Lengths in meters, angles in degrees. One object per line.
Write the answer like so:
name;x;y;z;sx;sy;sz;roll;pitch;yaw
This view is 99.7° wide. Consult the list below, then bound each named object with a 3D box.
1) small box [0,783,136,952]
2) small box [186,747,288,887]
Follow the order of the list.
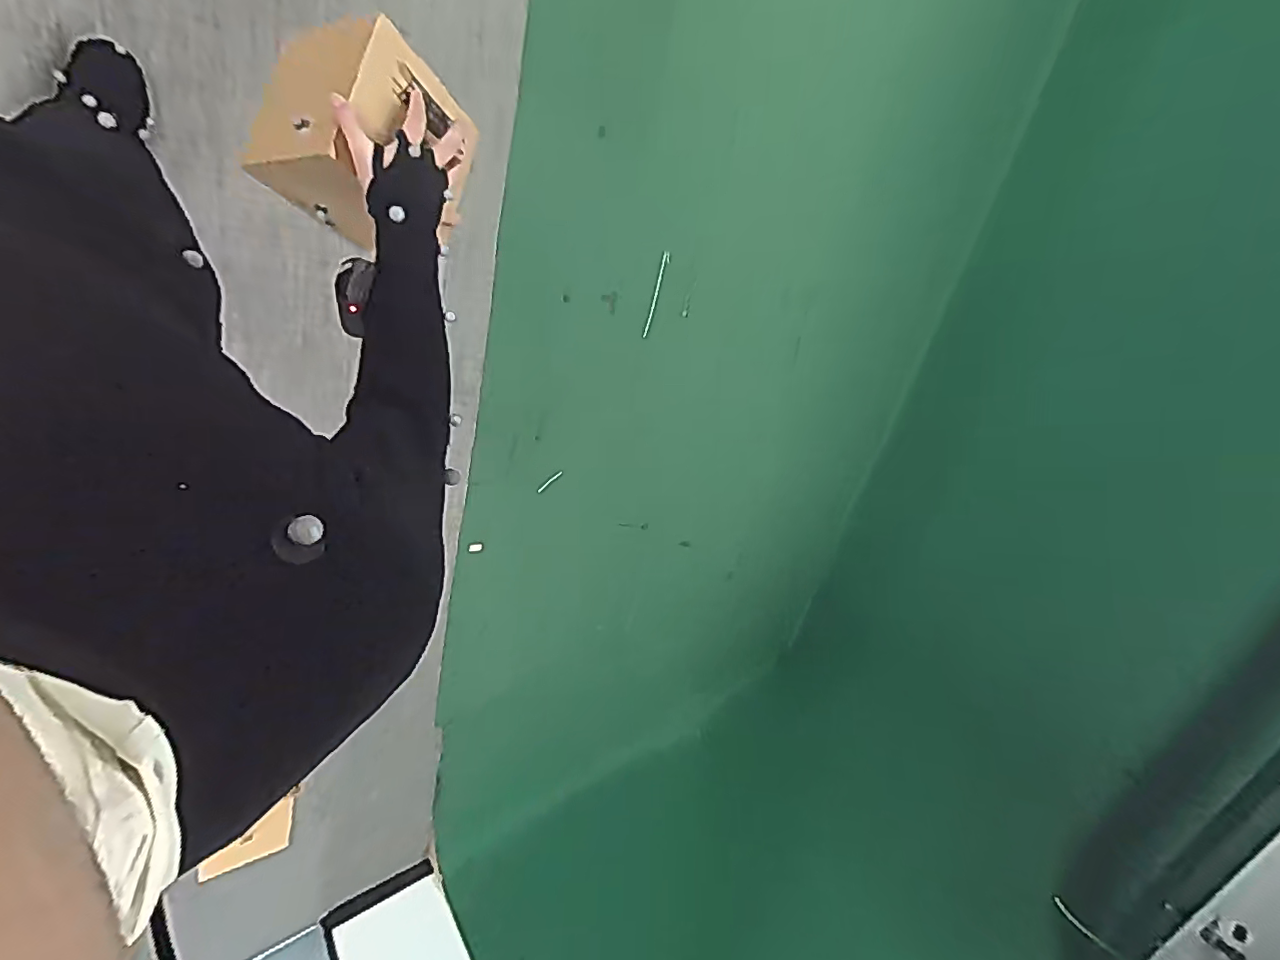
small box;-1.091;0.715;1.021;0.168;0.176;0.179;-16;127;-34
small box;-0.908;0.745;1.215;0.168;0.176;0.179;-1;117;-42
